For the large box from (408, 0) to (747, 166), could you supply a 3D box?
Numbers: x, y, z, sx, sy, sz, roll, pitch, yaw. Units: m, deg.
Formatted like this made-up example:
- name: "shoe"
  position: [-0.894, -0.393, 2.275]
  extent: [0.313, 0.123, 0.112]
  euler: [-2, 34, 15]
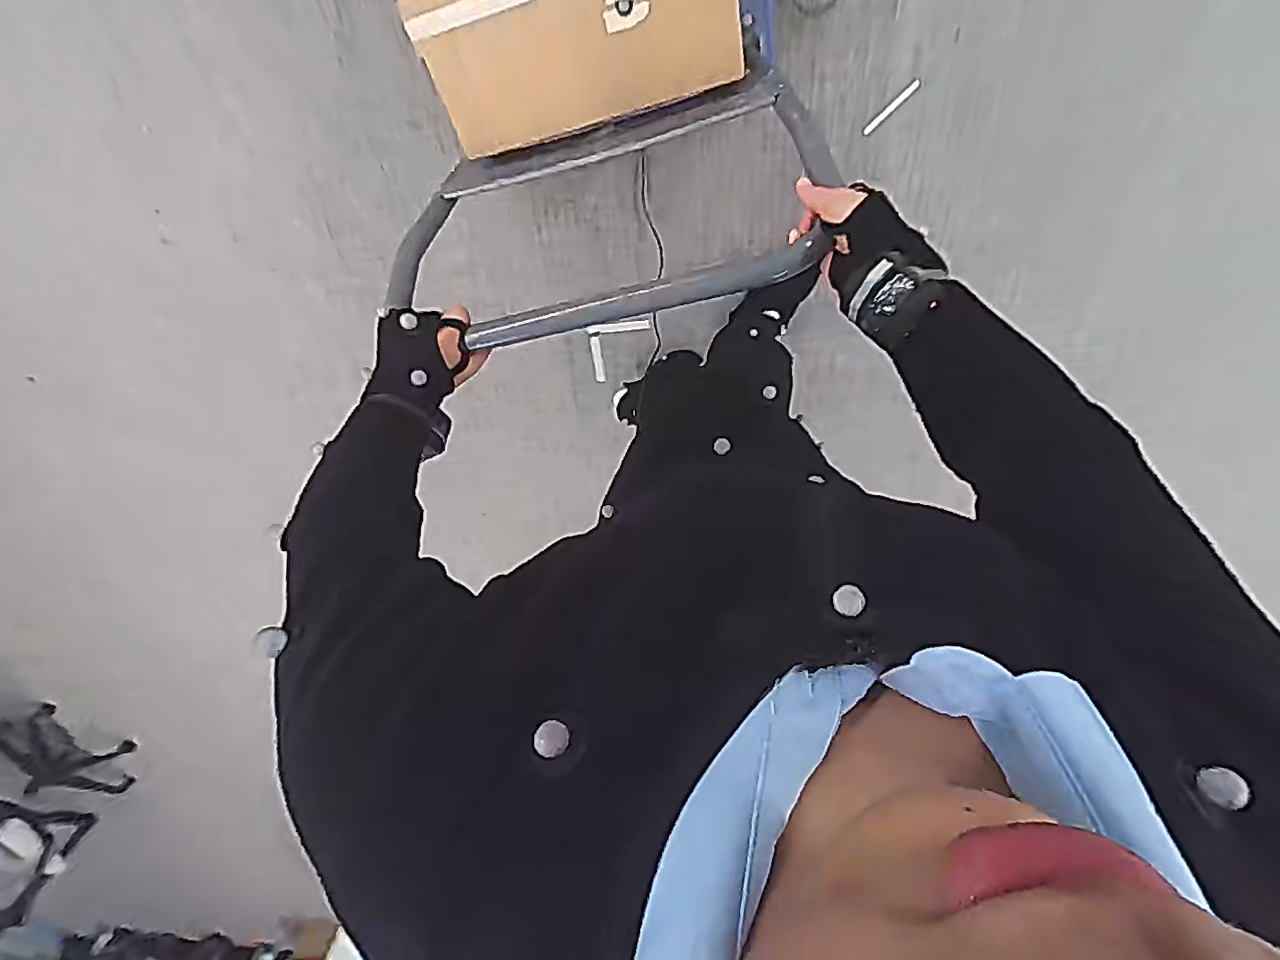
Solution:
- name: "large box"
  position: [-0.087, -0.706, 0.767]
  extent: [0.408, 0.320, 0.320]
  euler: [-11, 133, 11]
